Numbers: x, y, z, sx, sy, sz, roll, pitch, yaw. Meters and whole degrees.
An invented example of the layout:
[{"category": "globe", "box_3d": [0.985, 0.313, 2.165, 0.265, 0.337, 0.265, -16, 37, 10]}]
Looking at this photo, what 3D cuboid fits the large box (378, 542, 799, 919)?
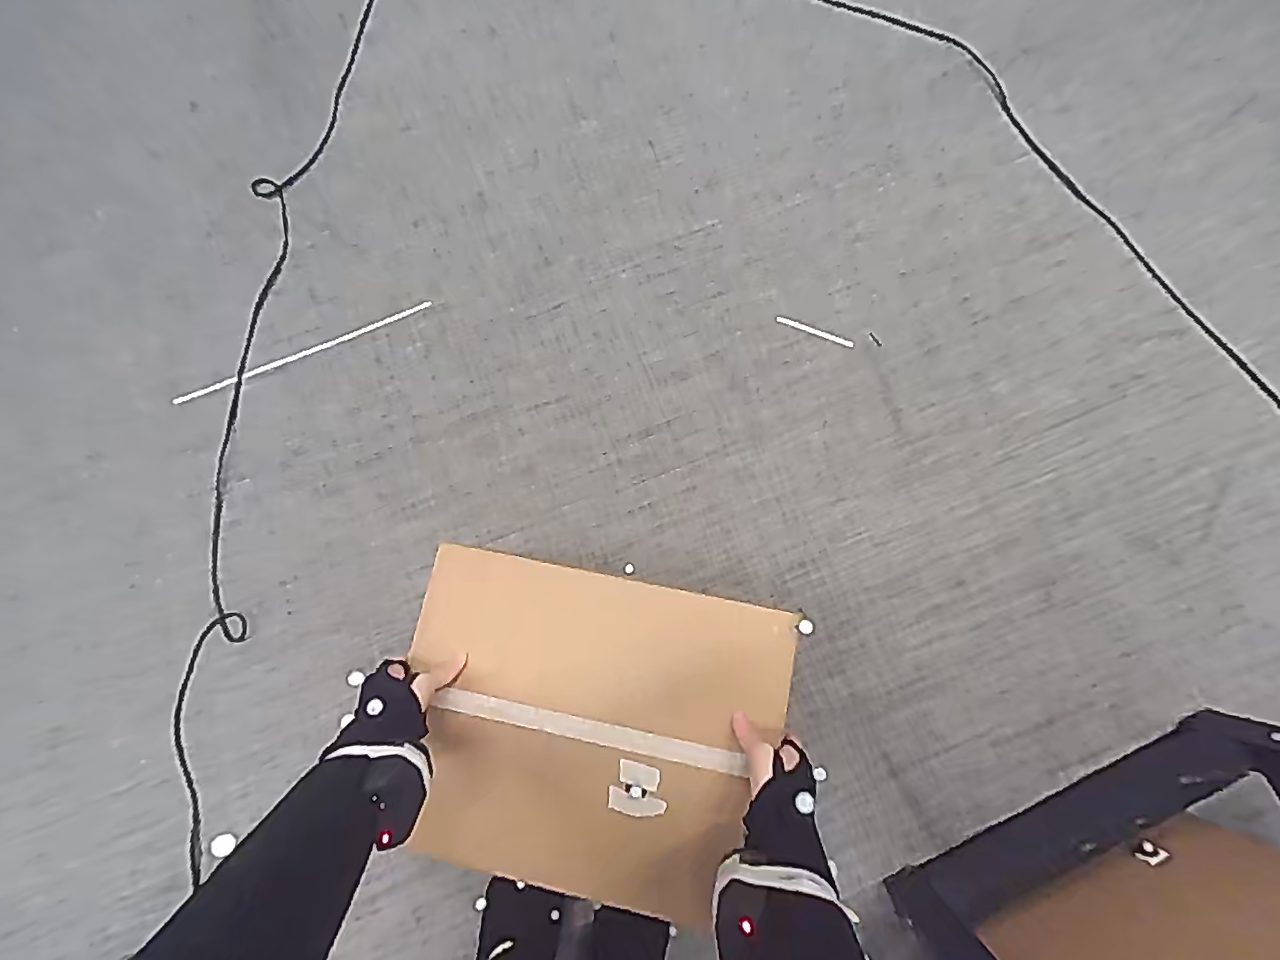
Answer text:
[{"category": "large box", "box_3d": [-0.045, 0.276, 0.713, 0.408, 0.320, 0.320, 11, 81, 5]}]
